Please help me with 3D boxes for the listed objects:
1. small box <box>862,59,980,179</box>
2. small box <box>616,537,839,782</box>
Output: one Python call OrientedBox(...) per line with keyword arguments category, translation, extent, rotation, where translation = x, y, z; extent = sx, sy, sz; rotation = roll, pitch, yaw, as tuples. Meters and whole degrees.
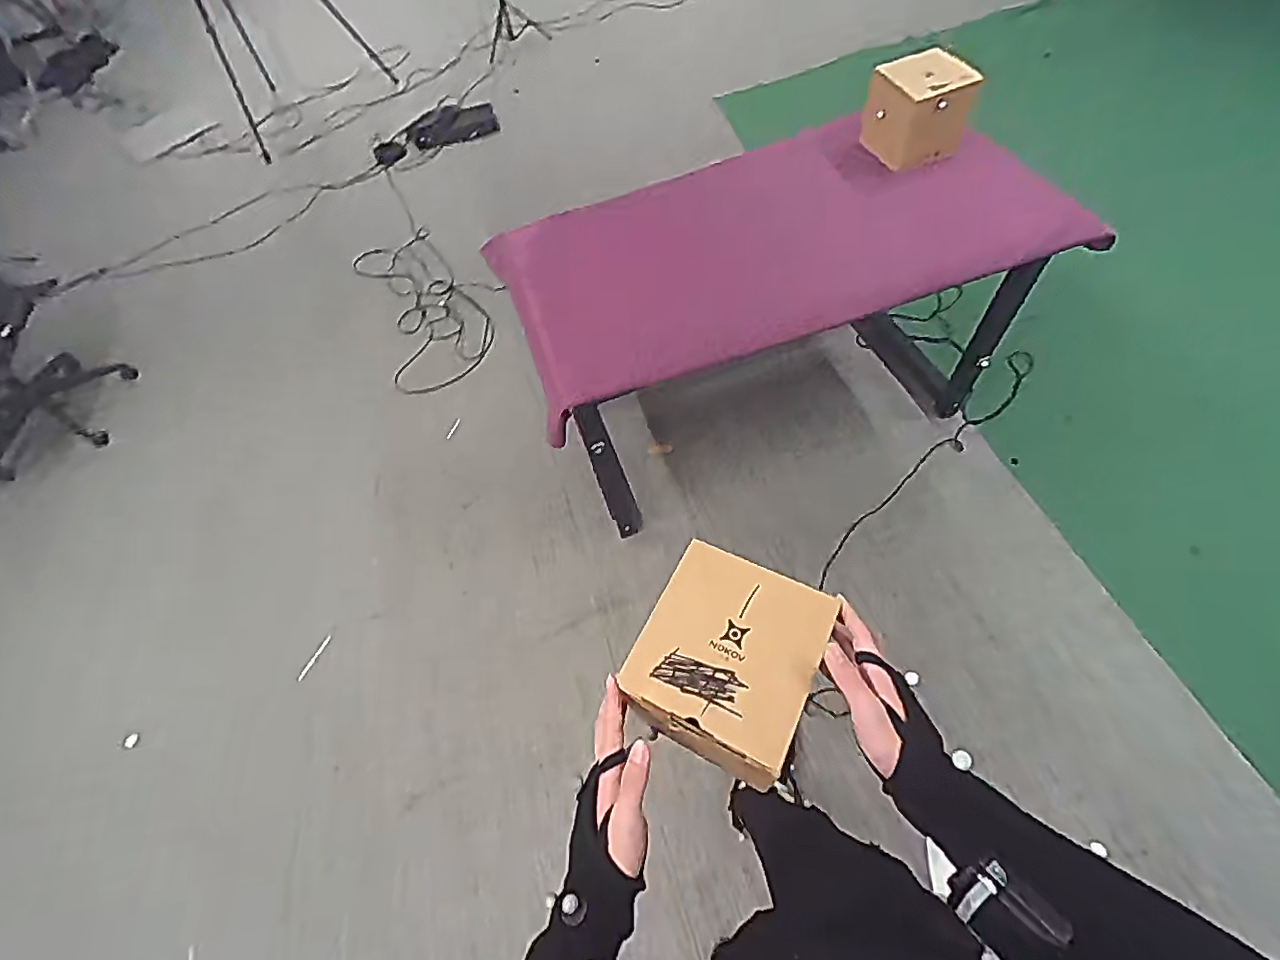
OrientedBox(category="small box", translation=(0.660, -0.863, 1.299), extent=(0.168, 0.176, 0.179), rotation=(-21, 58, -3))
OrientedBox(category="small box", translation=(0.097, 0.199, 0.590), extent=(0.168, 0.176, 0.179), rotation=(22, 61, 21))
